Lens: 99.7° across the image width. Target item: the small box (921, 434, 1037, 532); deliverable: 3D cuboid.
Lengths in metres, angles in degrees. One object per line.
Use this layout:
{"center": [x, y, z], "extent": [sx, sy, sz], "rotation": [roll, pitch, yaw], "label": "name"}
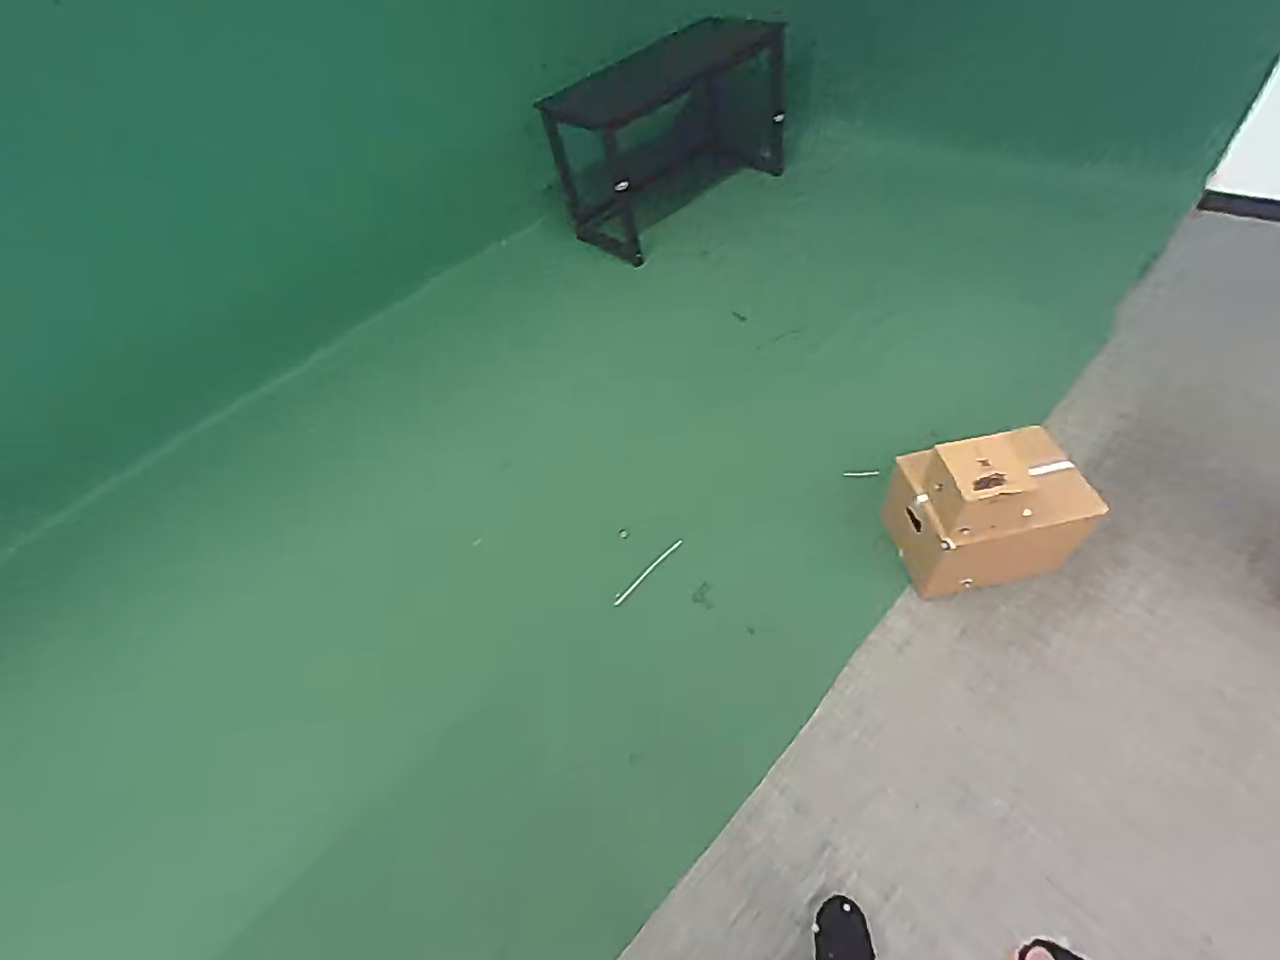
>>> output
{"center": [0.831, 0.014, 1.346], "extent": [0.168, 0.176, 0.179], "rotation": [-10, 51, 5], "label": "small box"}
